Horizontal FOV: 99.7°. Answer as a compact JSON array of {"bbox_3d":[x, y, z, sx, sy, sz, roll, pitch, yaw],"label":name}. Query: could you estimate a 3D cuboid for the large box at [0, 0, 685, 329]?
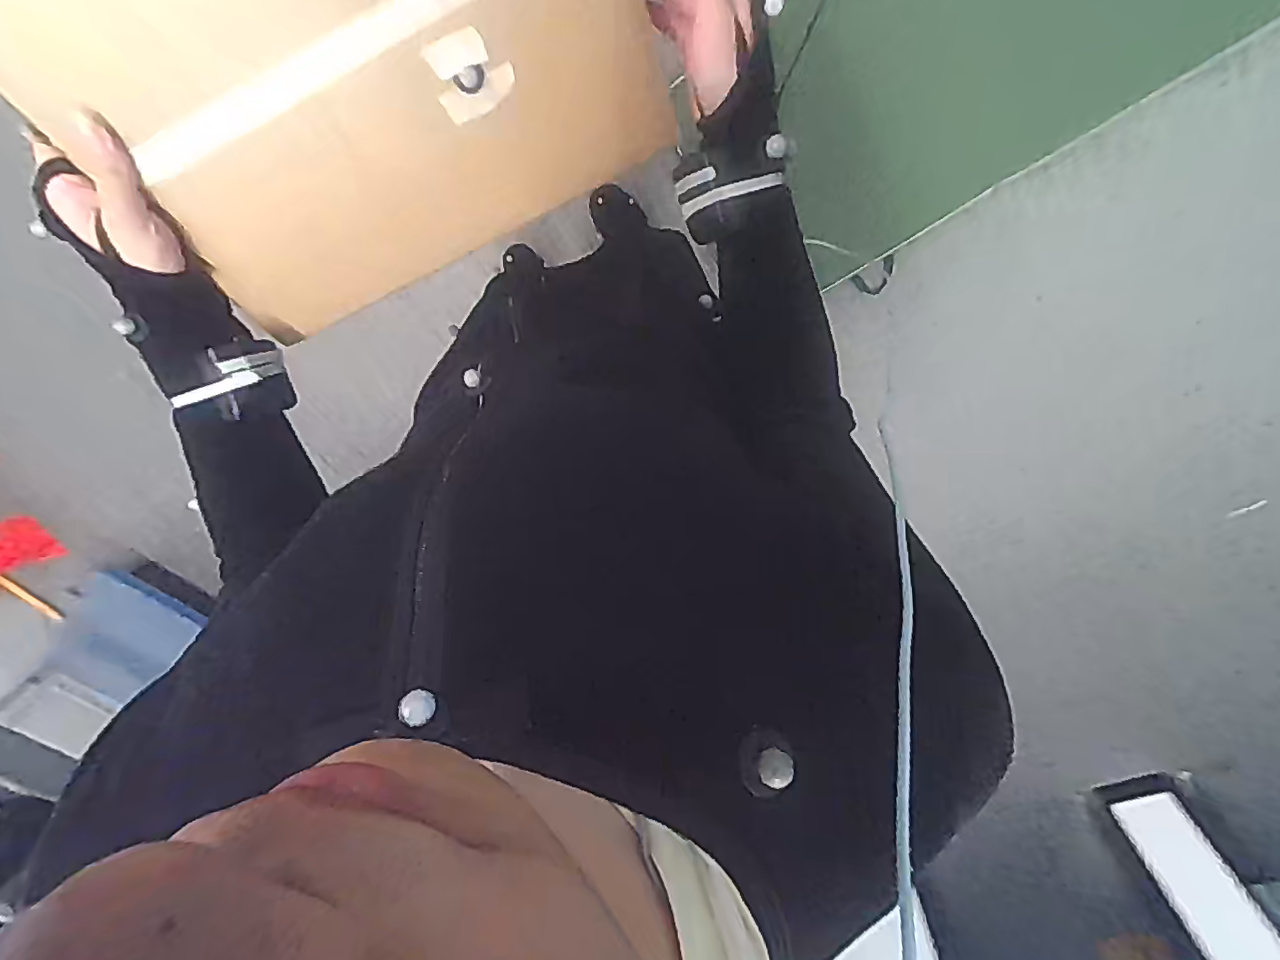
[{"bbox_3d":[-0.226,-0.412,0.478,0.408,0.320,0.320,-24,138,5],"label":"large box"}]
